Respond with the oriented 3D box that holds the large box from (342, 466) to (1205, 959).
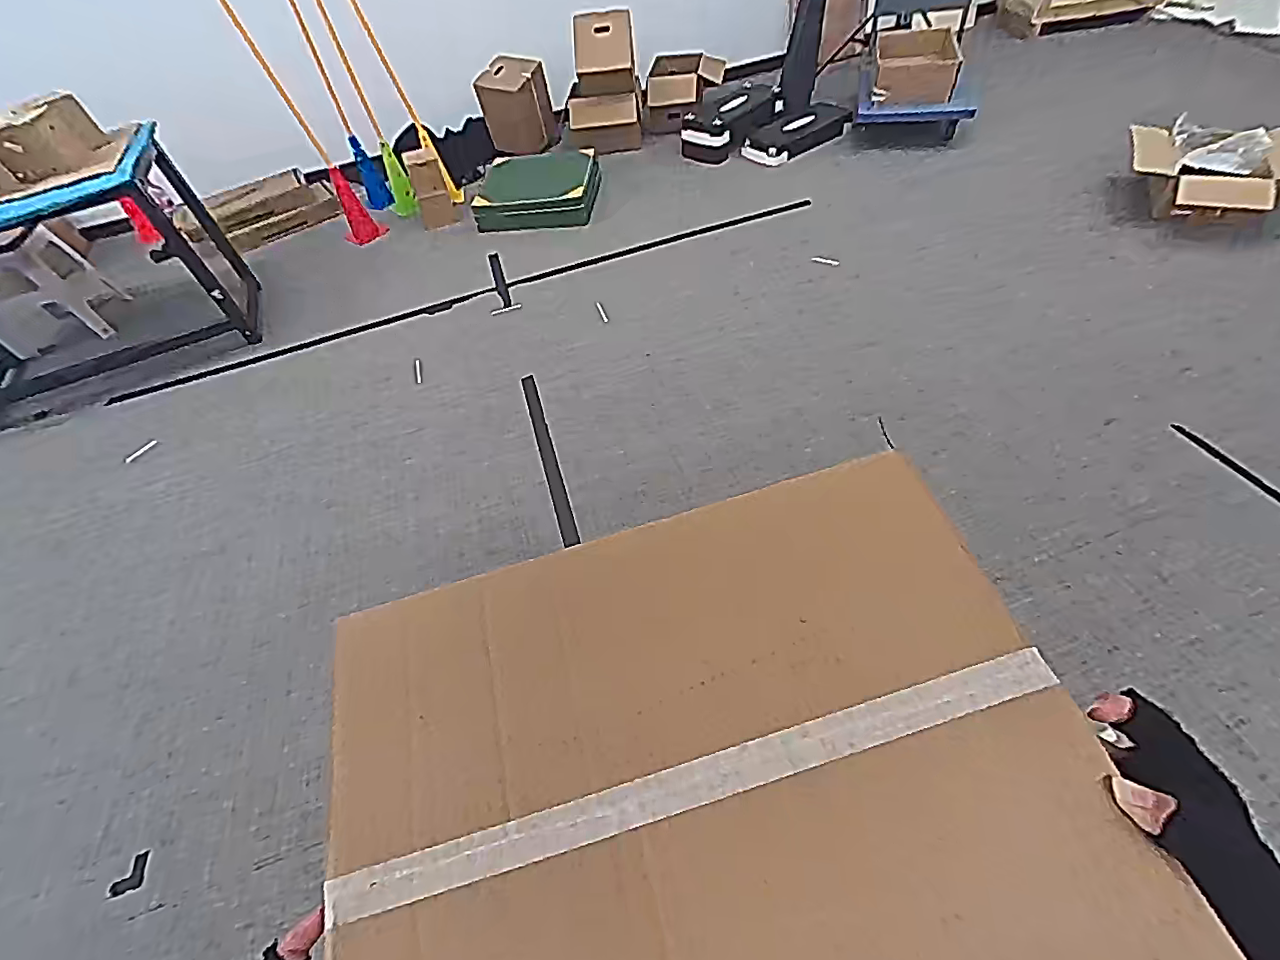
[{"bbox_3d":[0.048,0.245,0.429,0.408,0.320,0.320,-17,57,-2],"label":"large box"}]
